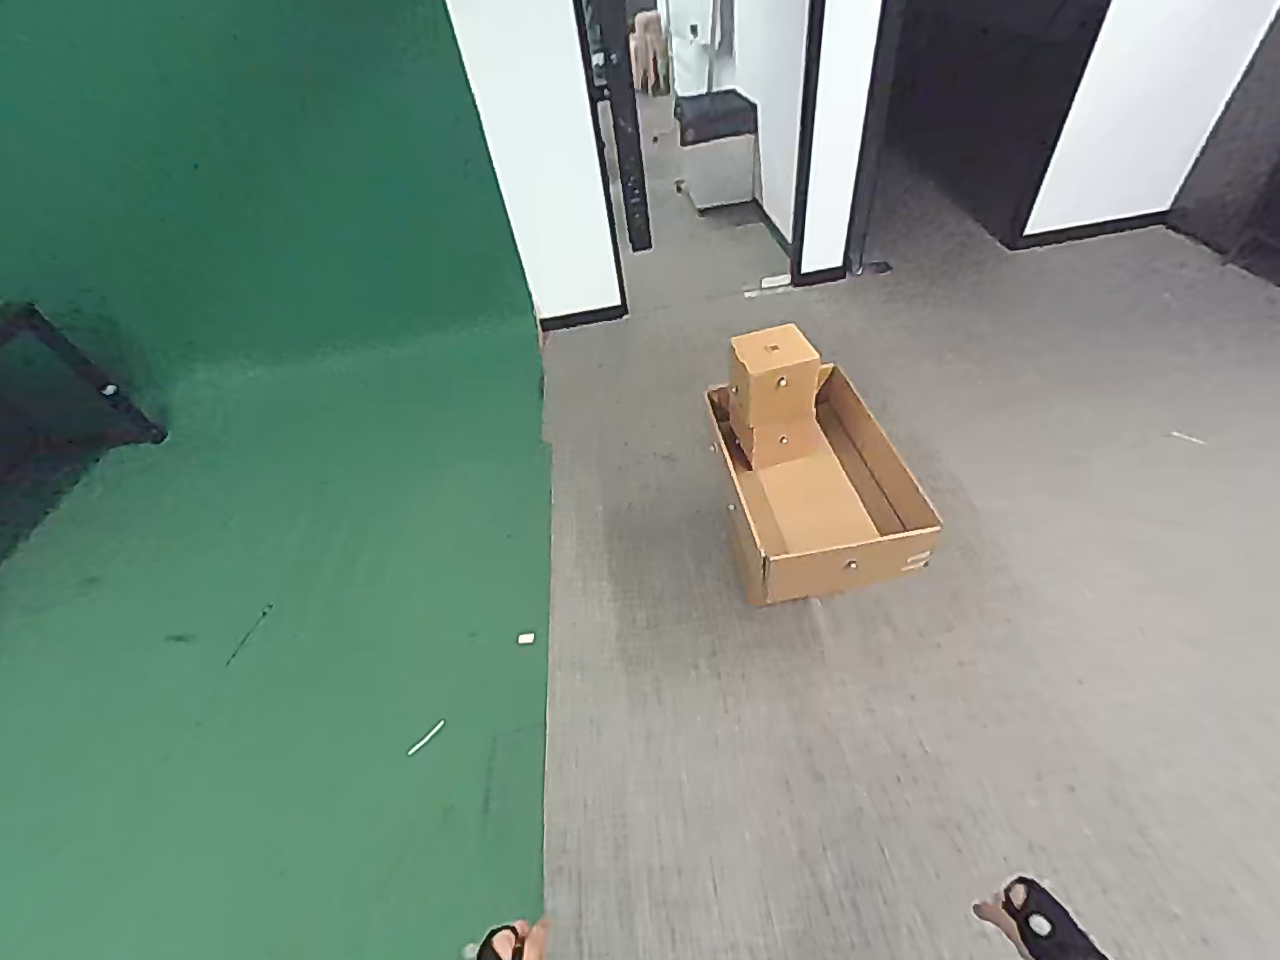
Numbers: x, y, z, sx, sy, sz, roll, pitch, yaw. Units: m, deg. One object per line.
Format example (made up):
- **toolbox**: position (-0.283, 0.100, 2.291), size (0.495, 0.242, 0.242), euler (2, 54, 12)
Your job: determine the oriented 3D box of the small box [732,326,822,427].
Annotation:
- **small box**: position (0.341, -0.261, 1.378), size (0.179, 0.176, 0.168), euler (-14, 46, -2)
